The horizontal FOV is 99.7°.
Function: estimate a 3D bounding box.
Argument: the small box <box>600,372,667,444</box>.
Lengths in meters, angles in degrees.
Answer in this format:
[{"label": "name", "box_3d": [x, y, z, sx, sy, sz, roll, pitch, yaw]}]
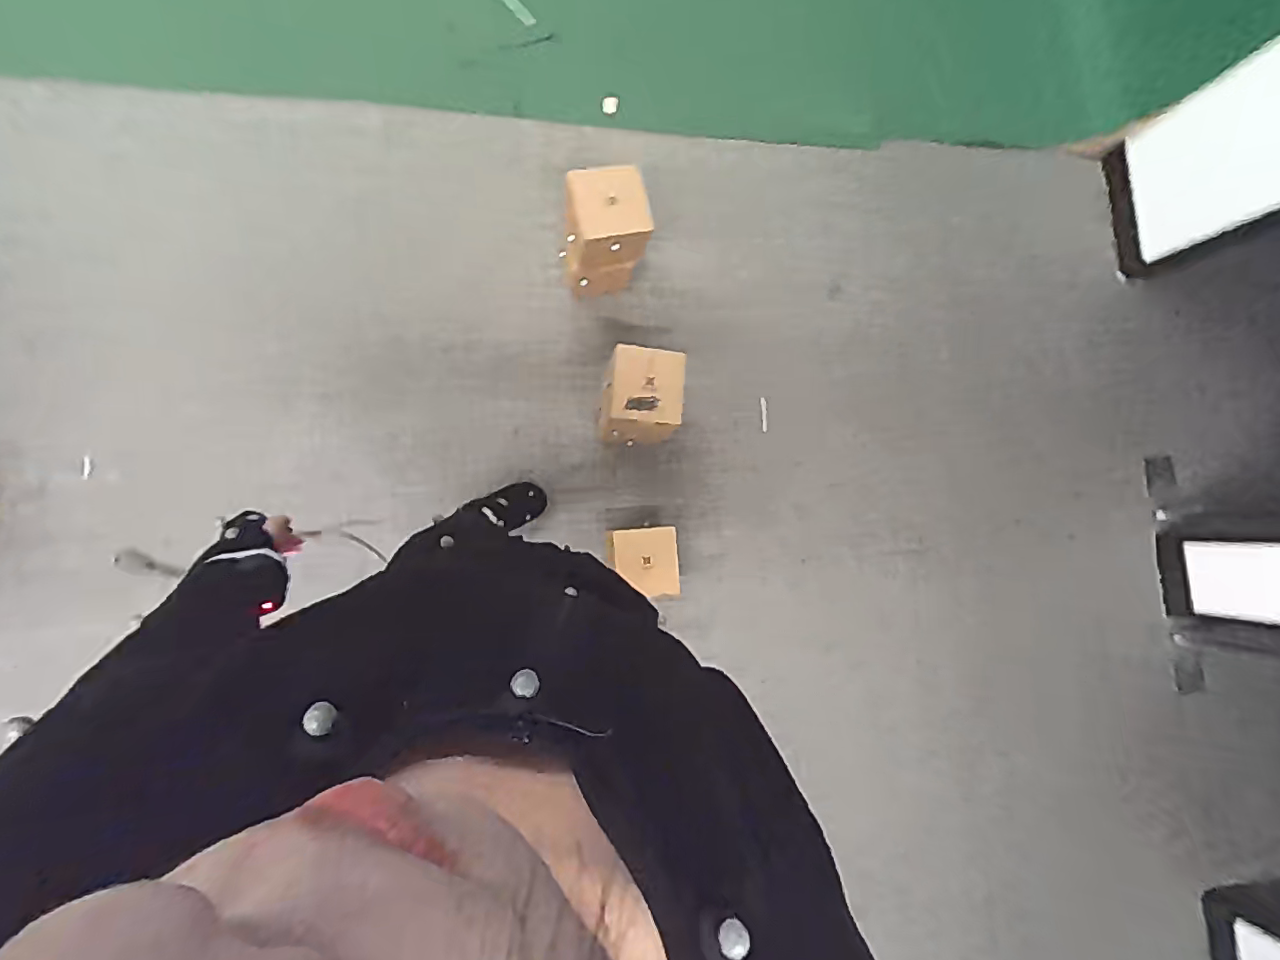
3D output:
[{"label": "small box", "box_3d": [-0.016, -0.198, 1.480, 0.168, 0.176, 0.179, 5, 85, -11]}]

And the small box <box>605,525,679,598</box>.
[{"label": "small box", "box_3d": [0.001, 0.214, 1.452, 0.168, 0.176, 0.179, -3, 87, -11]}]

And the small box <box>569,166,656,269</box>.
[{"label": "small box", "box_3d": [-0.075, -0.641, 1.337, 0.179, 0.176, 0.168, -12, 88, -13]}]

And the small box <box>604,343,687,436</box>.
[{"label": "small box", "box_3d": [0.008, -0.211, 1.317, 0.168, 0.176, 0.179, 6, 83, -10]}]
